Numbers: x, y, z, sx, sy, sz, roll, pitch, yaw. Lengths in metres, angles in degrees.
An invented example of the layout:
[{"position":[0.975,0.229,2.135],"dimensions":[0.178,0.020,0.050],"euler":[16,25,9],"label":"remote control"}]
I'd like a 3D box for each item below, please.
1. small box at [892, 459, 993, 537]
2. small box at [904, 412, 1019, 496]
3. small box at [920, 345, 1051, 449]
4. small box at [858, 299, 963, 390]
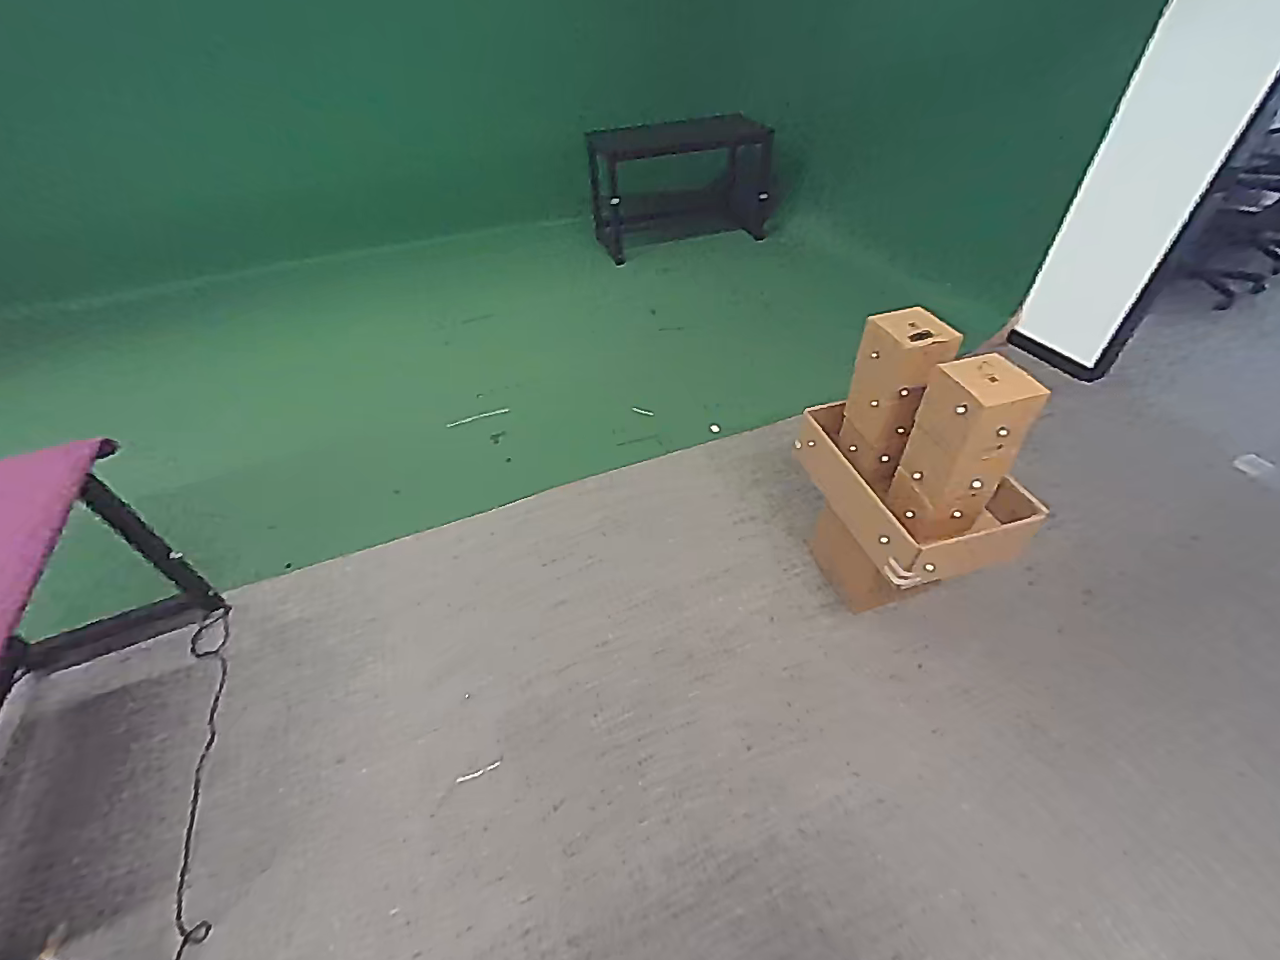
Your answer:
[{"position":[0.832,0.040,1.515],"dimensions":[0.179,0.176,0.168],"euler":[-10,46,-5],"label":"small box"},{"position":[0.821,-0.076,1.400],"dimensions":[0.168,0.176,0.179],"euler":[-11,47,-5],"label":"small box"},{"position":[0.804,-0.190,1.282],"dimensions":[0.168,0.176,0.179],"euler":[-13,46,-7],"label":"small box"},{"position":[0.720,-0.360,1.461],"dimensions":[0.168,0.176,0.179],"euler":[-14,45,-9],"label":"small box"}]
